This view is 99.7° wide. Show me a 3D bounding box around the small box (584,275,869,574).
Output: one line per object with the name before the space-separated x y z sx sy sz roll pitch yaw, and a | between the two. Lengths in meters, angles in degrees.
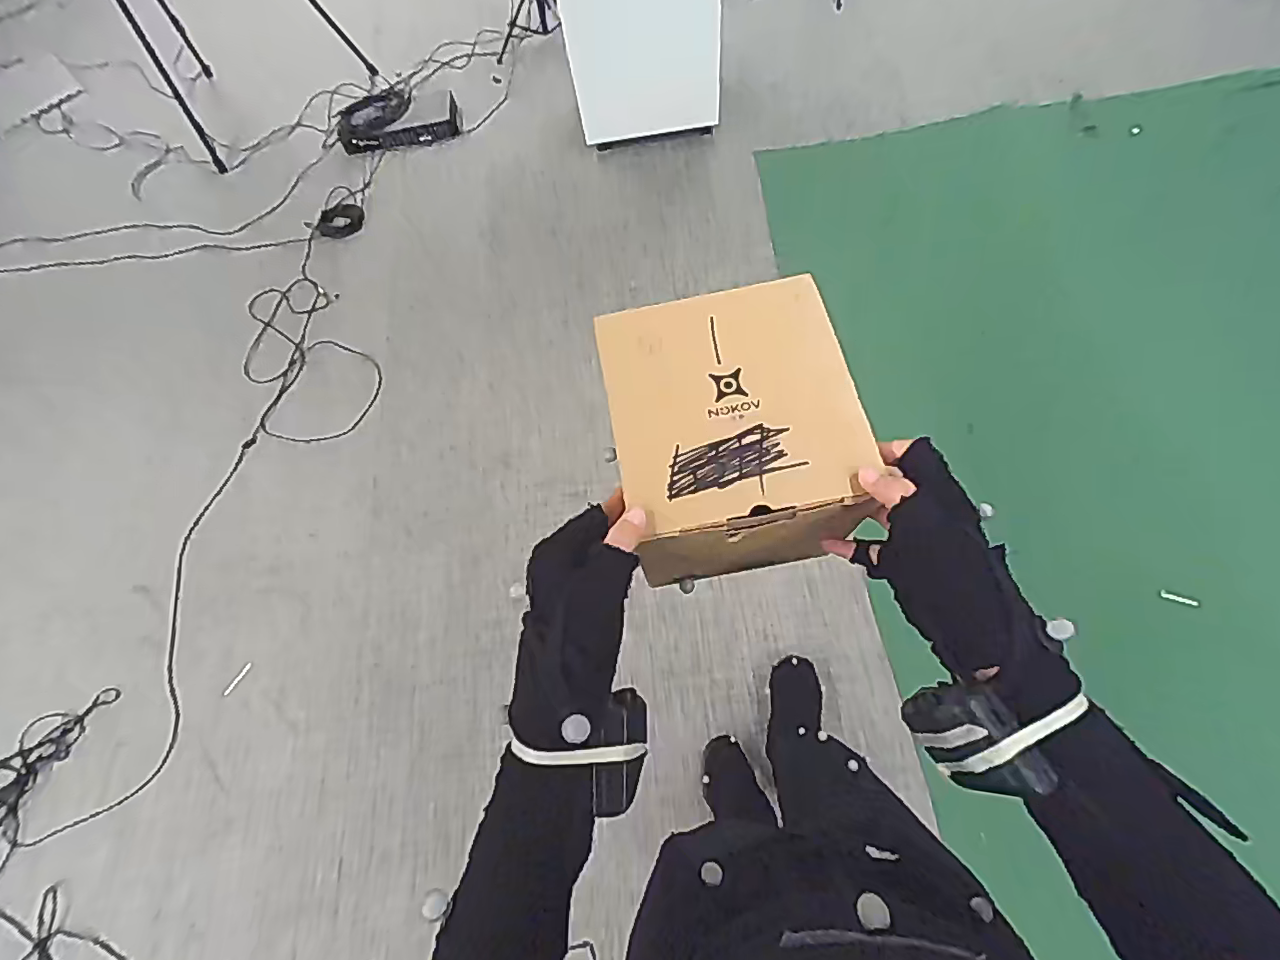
small box | 0.059 -0.029 0.441 0.168 0.176 0.179 -11 67 1
